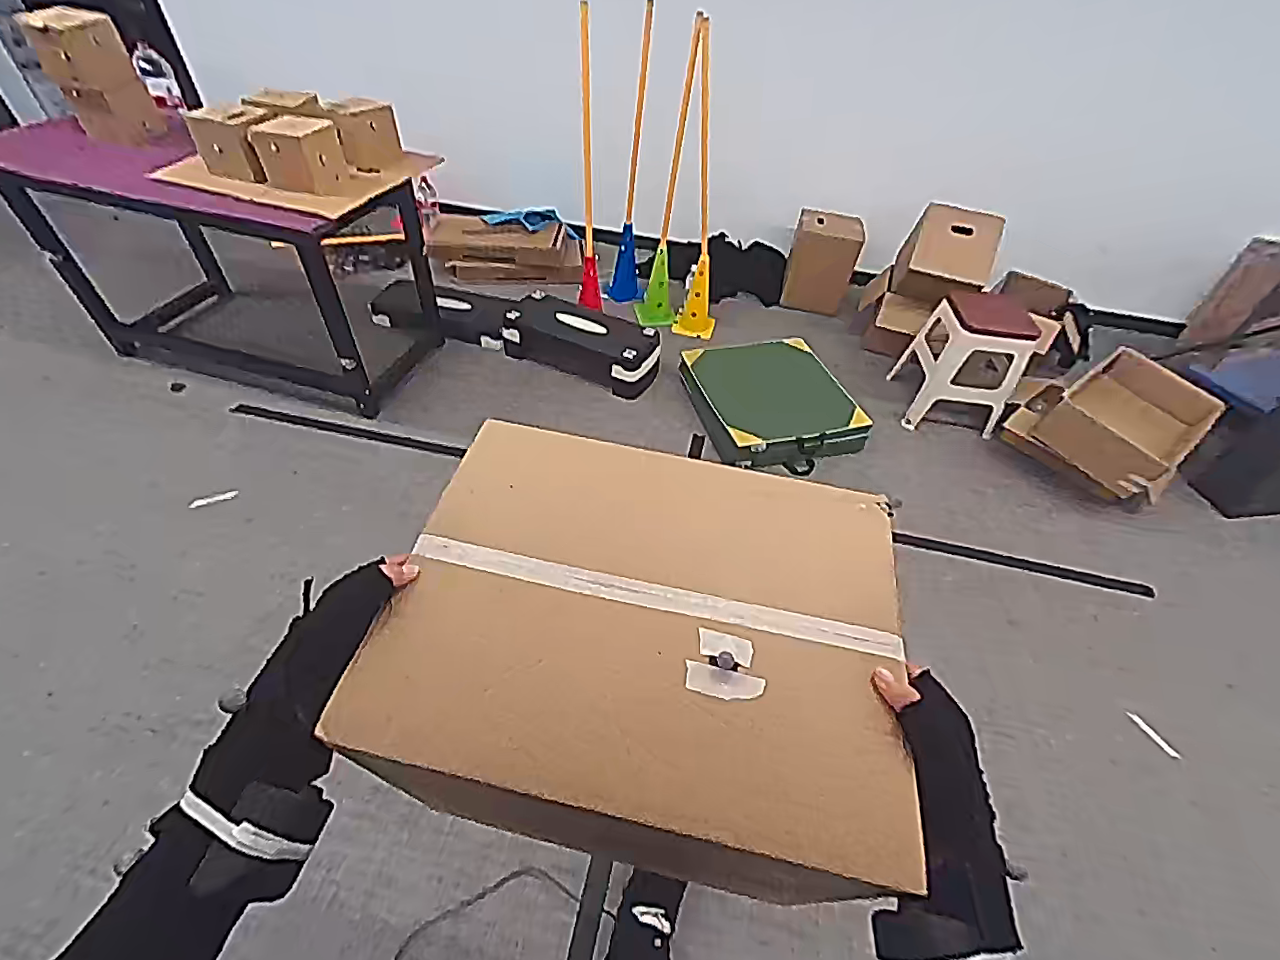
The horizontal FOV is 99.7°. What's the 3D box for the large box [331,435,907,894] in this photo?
[{"bbox_3d":[-0.004,0.196,0.567,0.408,0.320,0.320,12,52,5],"label":"large box"}]
